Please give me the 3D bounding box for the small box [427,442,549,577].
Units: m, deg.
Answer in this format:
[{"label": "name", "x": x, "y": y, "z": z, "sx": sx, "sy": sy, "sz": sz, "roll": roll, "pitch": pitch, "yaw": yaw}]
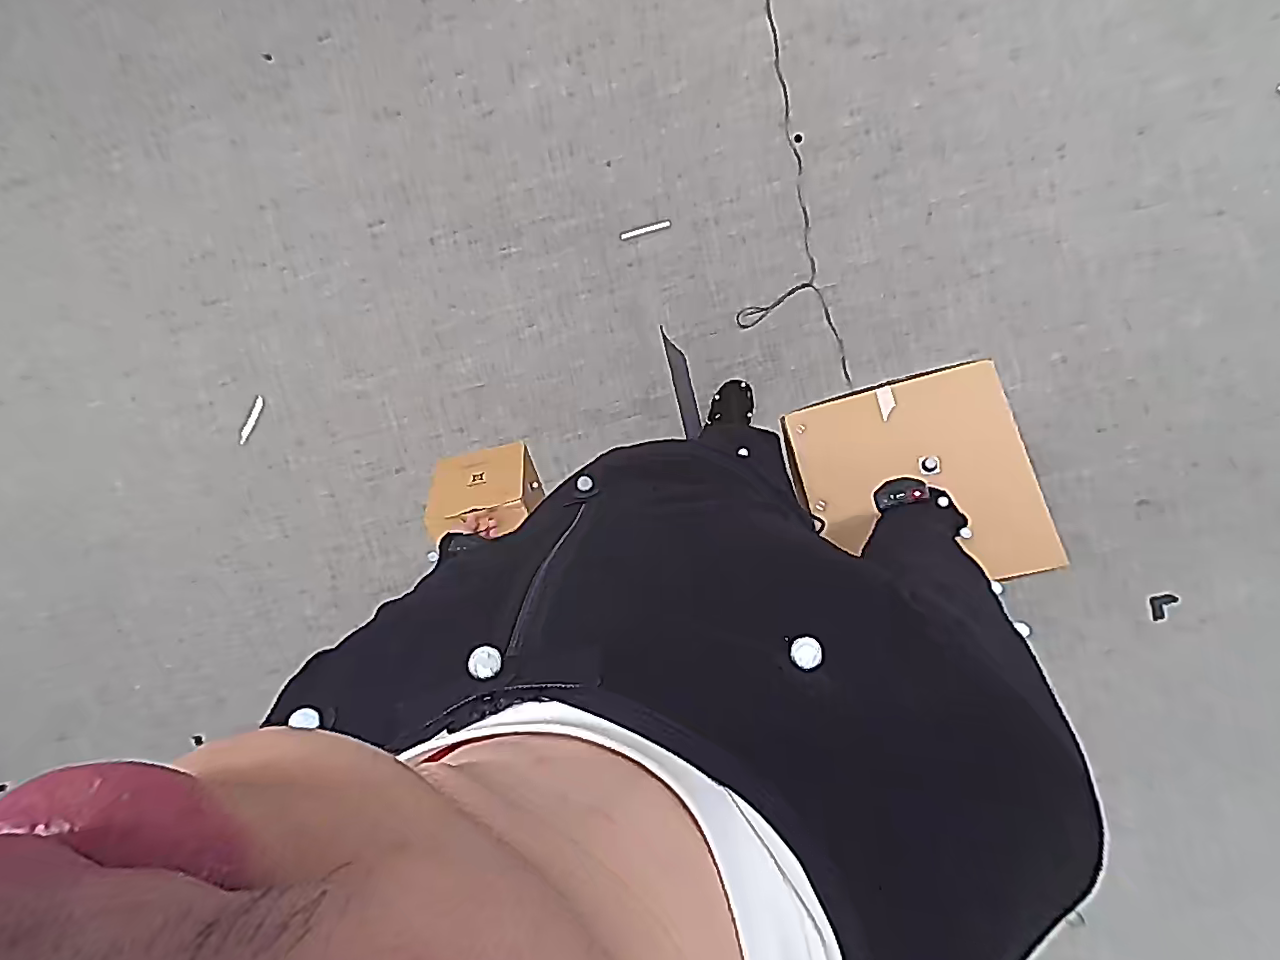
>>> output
[{"label": "small box", "x": -0.270, "y": 0.060, "z": 1.002, "sx": 0.168, "sy": 0.179, "sz": 0.176, "roll": -13, "pitch": 128, "yaw": -1}]
